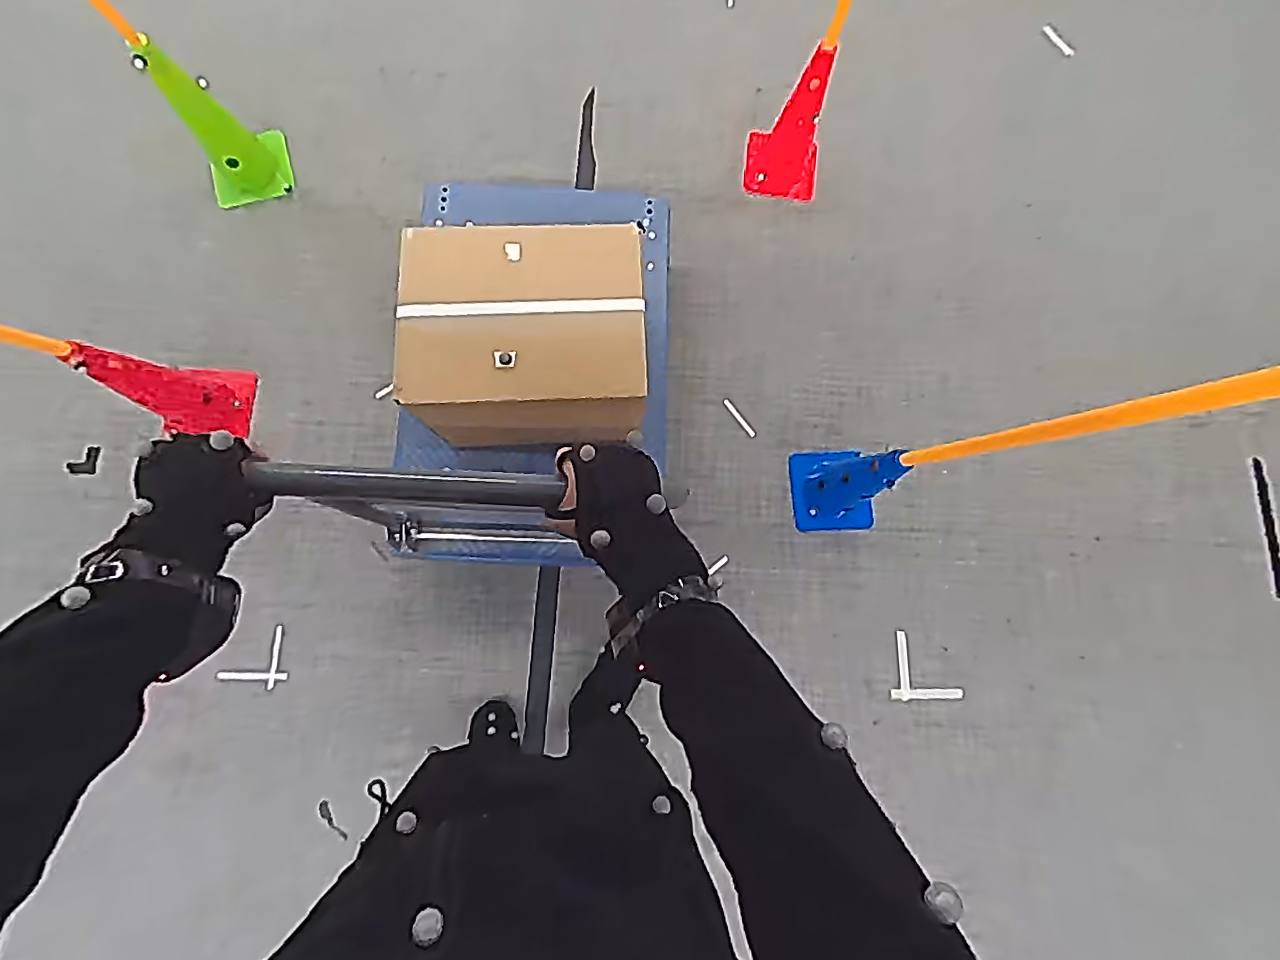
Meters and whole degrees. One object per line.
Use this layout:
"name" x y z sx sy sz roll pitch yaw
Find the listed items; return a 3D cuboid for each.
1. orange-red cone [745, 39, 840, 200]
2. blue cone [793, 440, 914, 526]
"orange-red cone" 0.408 -0.908 1.339 0.199 0.360 0.198 10 80 -2
"blue cone" 0.492 -0.013 1.195 0.193 0.380 0.192 -1 79 -3
